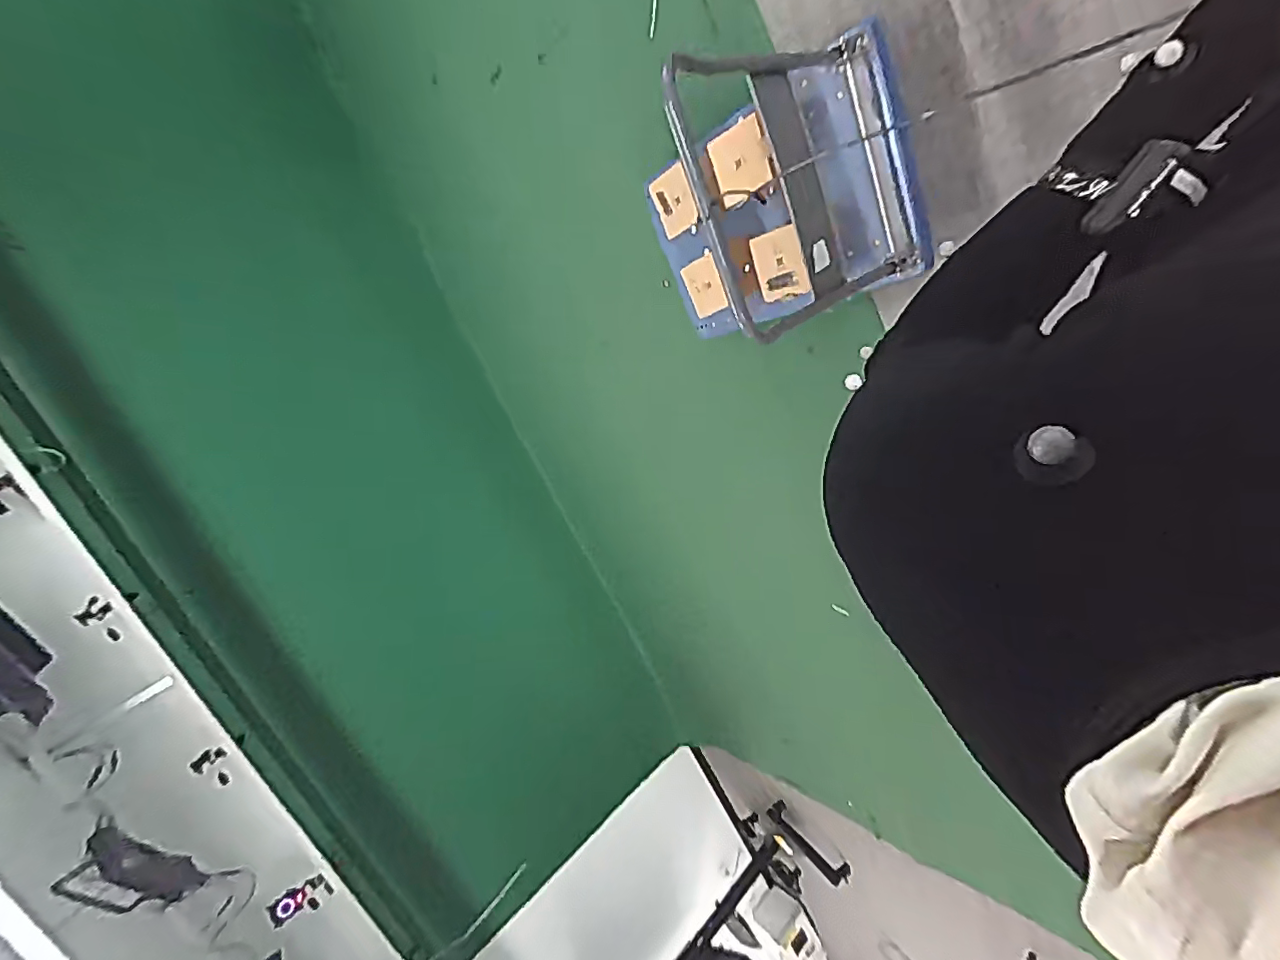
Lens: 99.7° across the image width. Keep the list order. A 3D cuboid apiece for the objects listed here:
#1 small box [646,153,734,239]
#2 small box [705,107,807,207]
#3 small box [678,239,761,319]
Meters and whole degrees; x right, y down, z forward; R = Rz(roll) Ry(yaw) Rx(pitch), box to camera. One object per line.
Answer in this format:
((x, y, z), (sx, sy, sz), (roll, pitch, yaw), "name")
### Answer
((0.156, -0.860, 1.635), (0.179, 0.176, 0.168), (-2, 118, 55), "small box")
((0.308, -0.850, 1.428), (0.179, 0.176, 0.168), (2, 120, 53), "small box")
((0.259, -0.635, 1.704), (0.179, 0.176, 0.168), (-4, 115, 57), "small box")
